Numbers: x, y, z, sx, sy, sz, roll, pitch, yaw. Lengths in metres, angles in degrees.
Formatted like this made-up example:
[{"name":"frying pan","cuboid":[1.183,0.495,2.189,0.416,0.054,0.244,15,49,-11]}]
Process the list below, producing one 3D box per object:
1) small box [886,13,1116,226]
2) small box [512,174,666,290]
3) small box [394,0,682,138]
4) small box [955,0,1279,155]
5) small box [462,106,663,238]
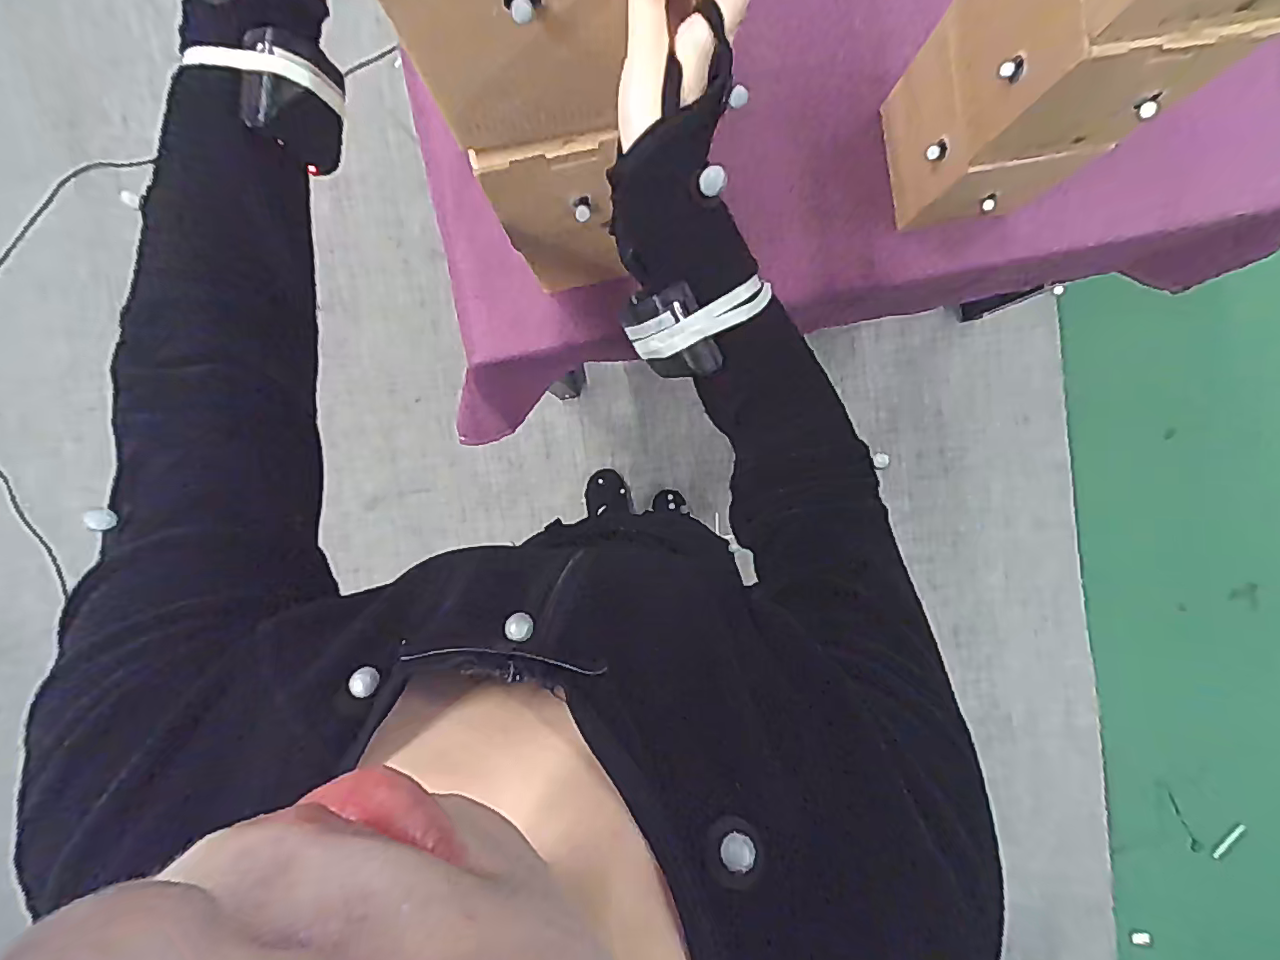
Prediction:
[{"name":"small box","cuboid":[0.428,-0.436,0.668,0.168,0.176,0.179,-9,92,1]},{"name":"small box","cuboid":[-0.068,-0.356,0.679,0.179,0.176,0.168,-12,92,0]},{"name":"small box","cuboid":[-0.068,-0.352,0.340,0.179,0.176,0.168,-10,91,0]},{"name":"small box","cuboid":[0.426,-0.433,0.505,0.168,0.176,0.179,-7,92,1]},{"name":"small box","cuboid":[-0.075,-0.352,0.515,0.168,0.176,0.179,-12,92,0]}]
